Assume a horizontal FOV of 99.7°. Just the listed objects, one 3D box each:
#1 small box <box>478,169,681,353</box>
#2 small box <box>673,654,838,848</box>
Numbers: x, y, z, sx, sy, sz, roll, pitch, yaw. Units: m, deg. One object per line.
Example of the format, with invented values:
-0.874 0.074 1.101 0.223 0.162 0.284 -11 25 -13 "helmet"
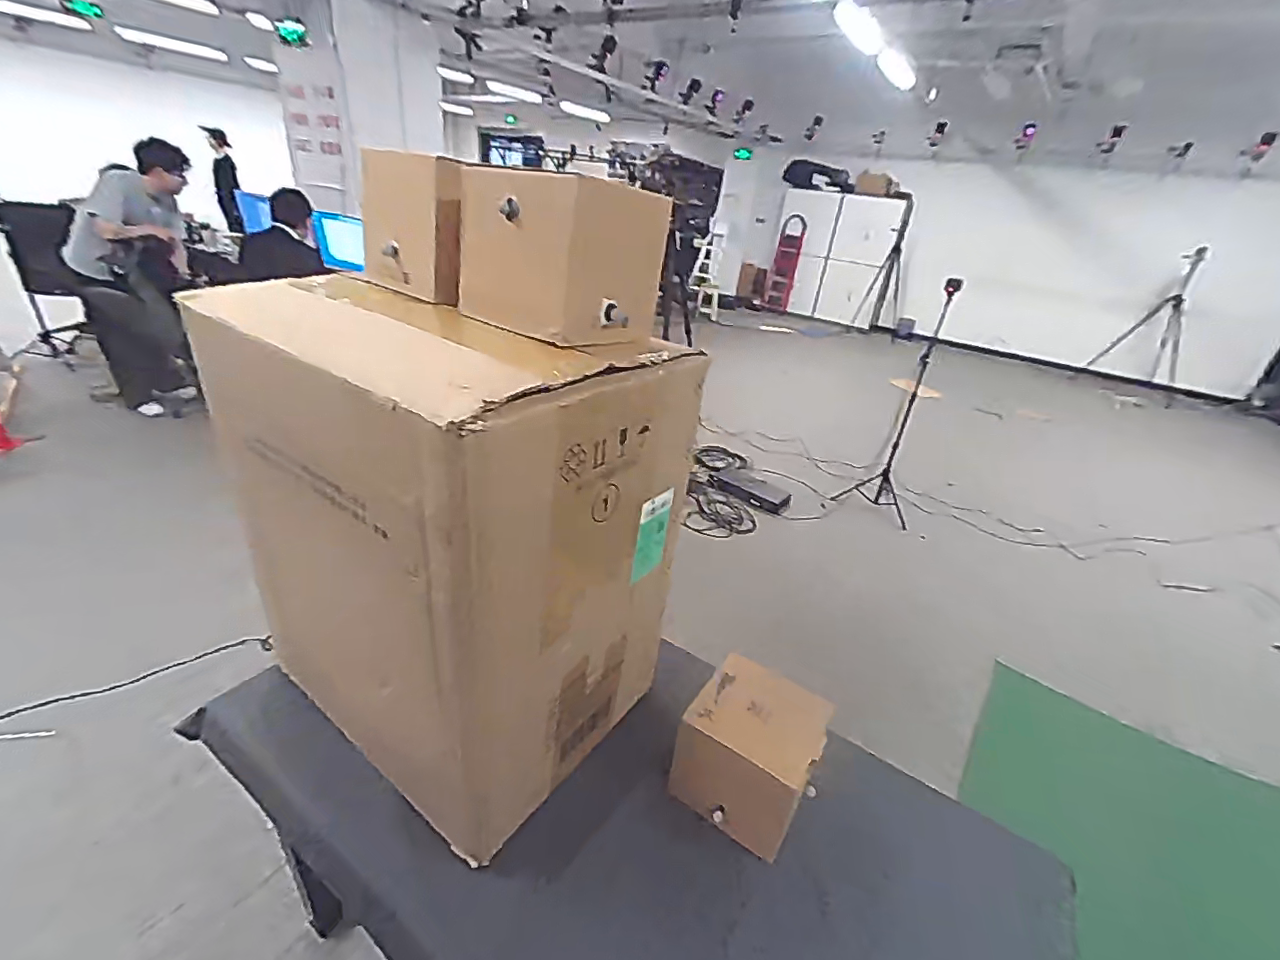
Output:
-0.079 -0.257 0.650 0.179 0.176 0.168 25 29 29 "small box"
0.170 0.409 0.818 0.179 0.176 0.168 23 32 27 "small box"
